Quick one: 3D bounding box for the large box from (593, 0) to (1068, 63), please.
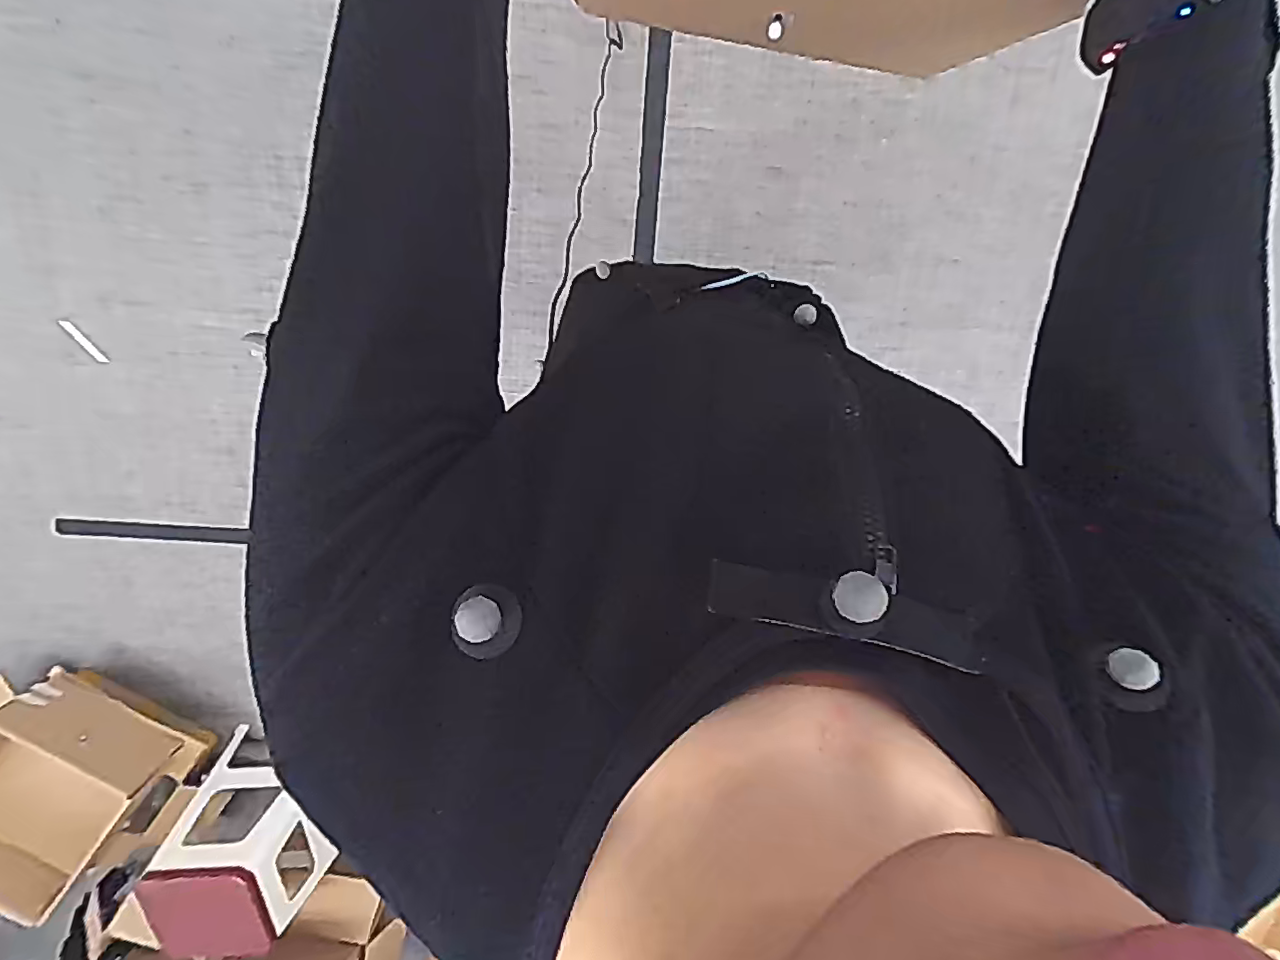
[{"bbox_3d":[0.152,-0.562,0.412,0.408,0.320,0.320,10,118,-2],"label":"large box"}]
